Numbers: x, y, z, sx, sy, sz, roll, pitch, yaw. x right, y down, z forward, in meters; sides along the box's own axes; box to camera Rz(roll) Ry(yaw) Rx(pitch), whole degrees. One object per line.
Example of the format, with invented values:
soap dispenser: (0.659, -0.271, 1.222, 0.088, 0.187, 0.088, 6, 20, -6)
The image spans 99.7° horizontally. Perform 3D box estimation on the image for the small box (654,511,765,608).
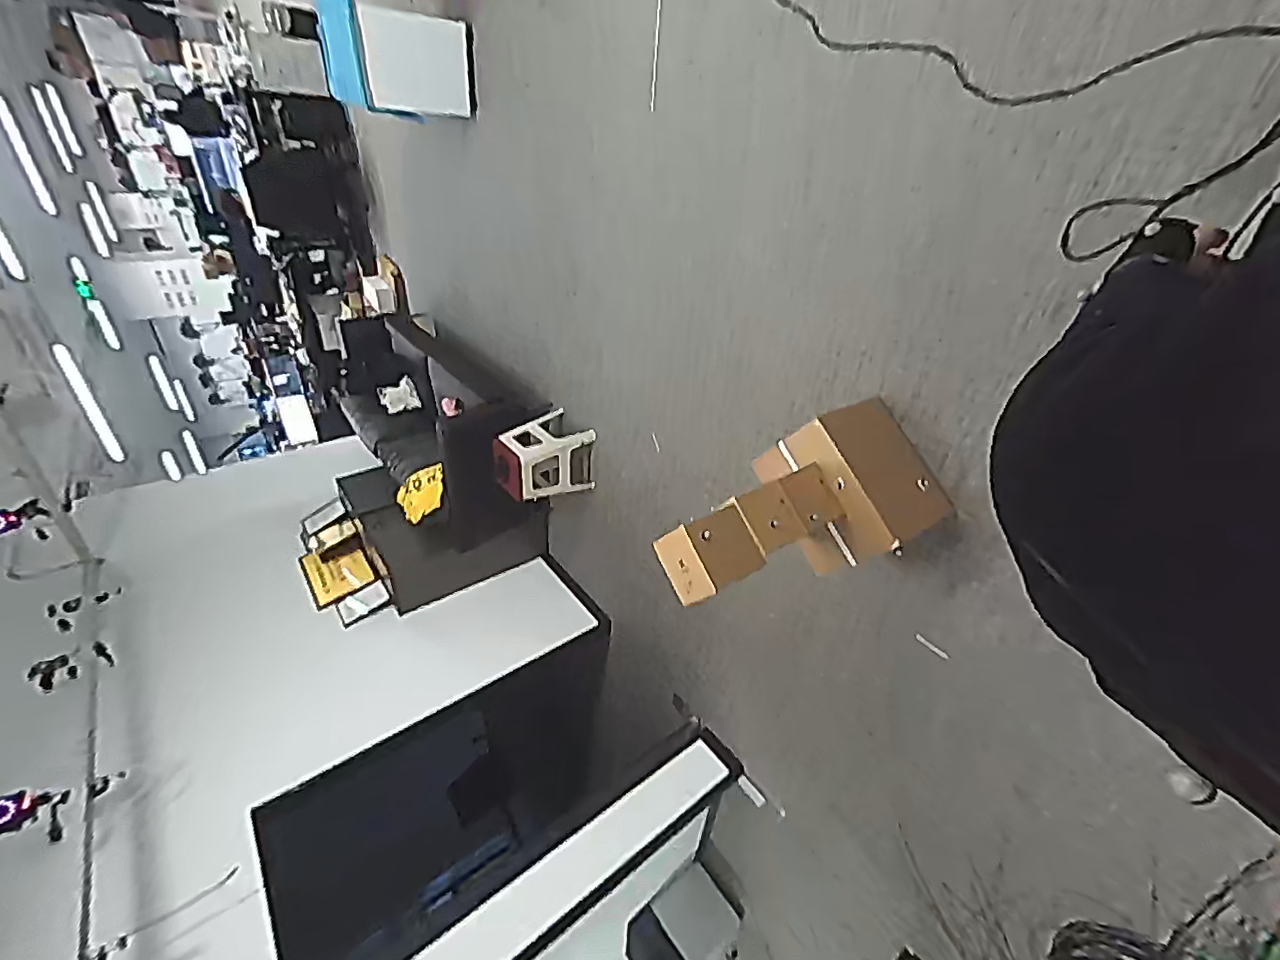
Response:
small box: (0.170, 0.189, 1.326, 0.179, 0.176, 0.168, 63, 148, 11)

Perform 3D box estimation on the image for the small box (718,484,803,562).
small box: (0.298, 0.130, 1.413, 0.168, 0.176, 0.179, 62, 147, 12)
